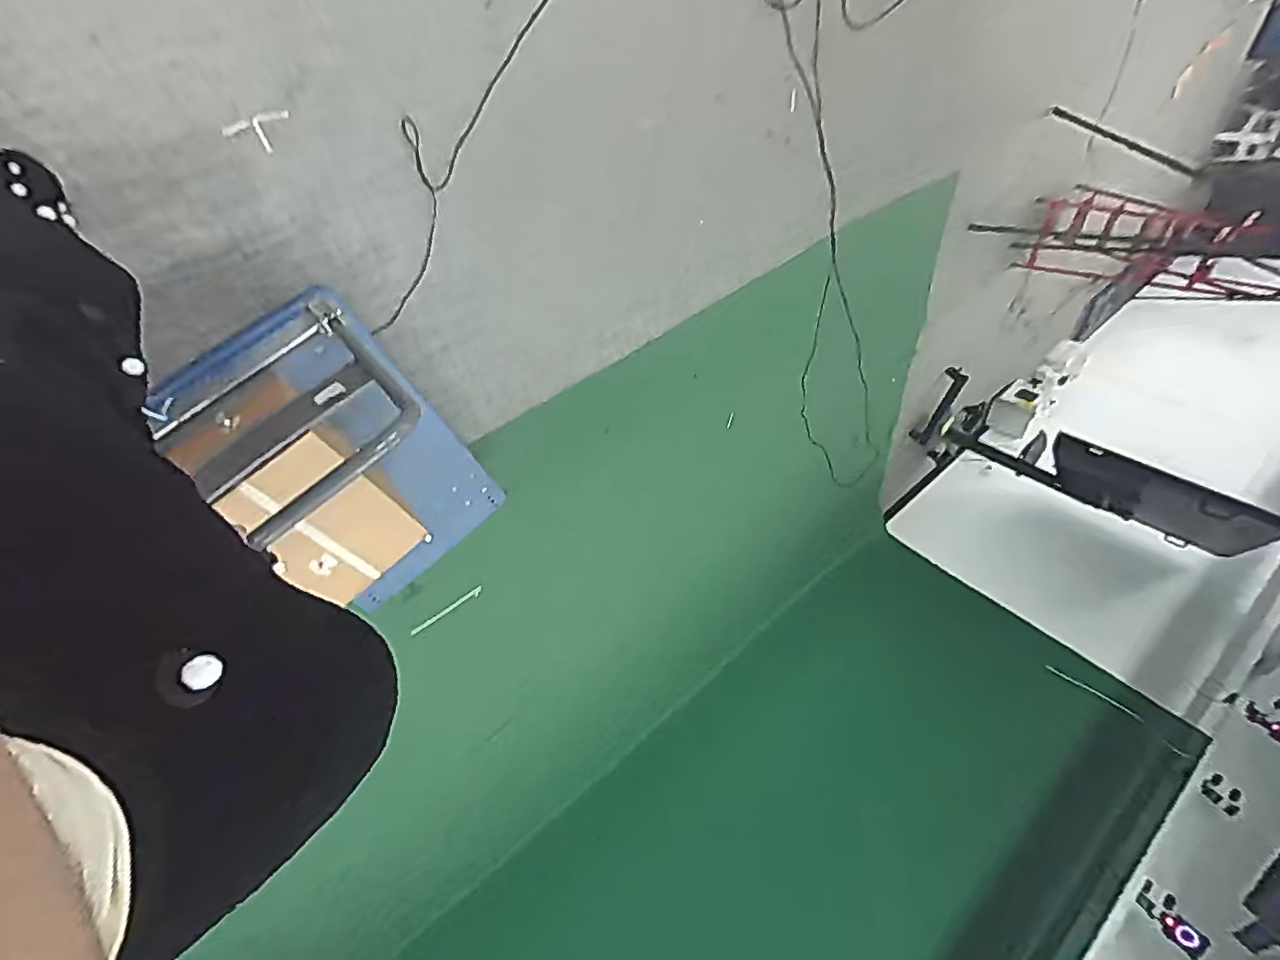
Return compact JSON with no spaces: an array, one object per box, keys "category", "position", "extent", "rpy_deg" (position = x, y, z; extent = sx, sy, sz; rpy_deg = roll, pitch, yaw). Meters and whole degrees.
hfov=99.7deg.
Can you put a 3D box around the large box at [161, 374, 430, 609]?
[{"category":"large box","position":[-0.795,0.031,1.278],"extent":[0.320,0.320,0.408],"rpy_deg":[-42,142,-12]}]
